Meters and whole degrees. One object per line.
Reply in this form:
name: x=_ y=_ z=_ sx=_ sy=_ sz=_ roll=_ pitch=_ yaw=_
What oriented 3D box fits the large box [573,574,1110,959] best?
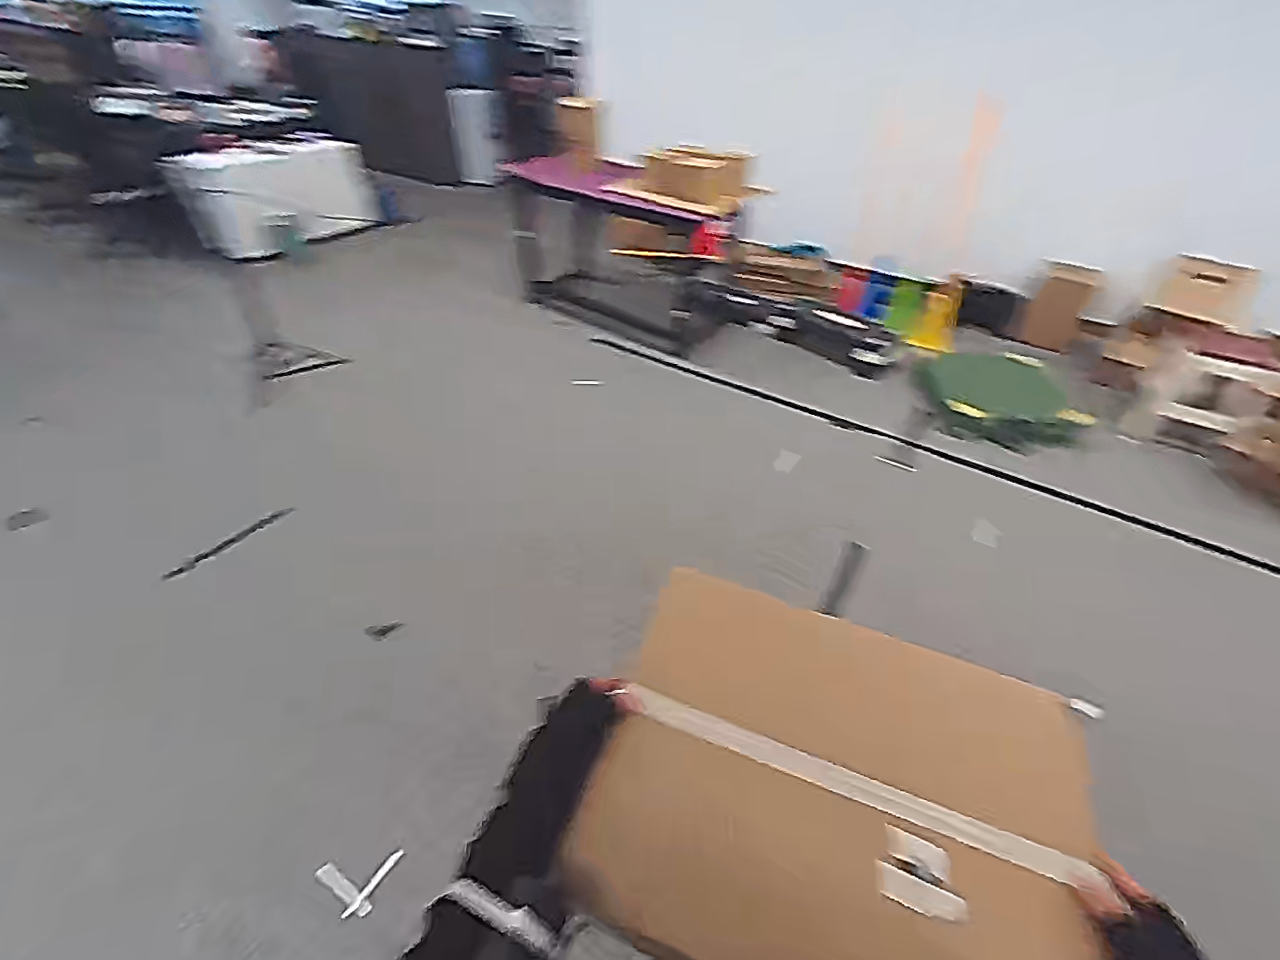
large box: x=0.176 y=0.363 z=0.587 sx=0.408 sy=0.320 sz=0.320 roll=17 pitch=50 yaw=13
